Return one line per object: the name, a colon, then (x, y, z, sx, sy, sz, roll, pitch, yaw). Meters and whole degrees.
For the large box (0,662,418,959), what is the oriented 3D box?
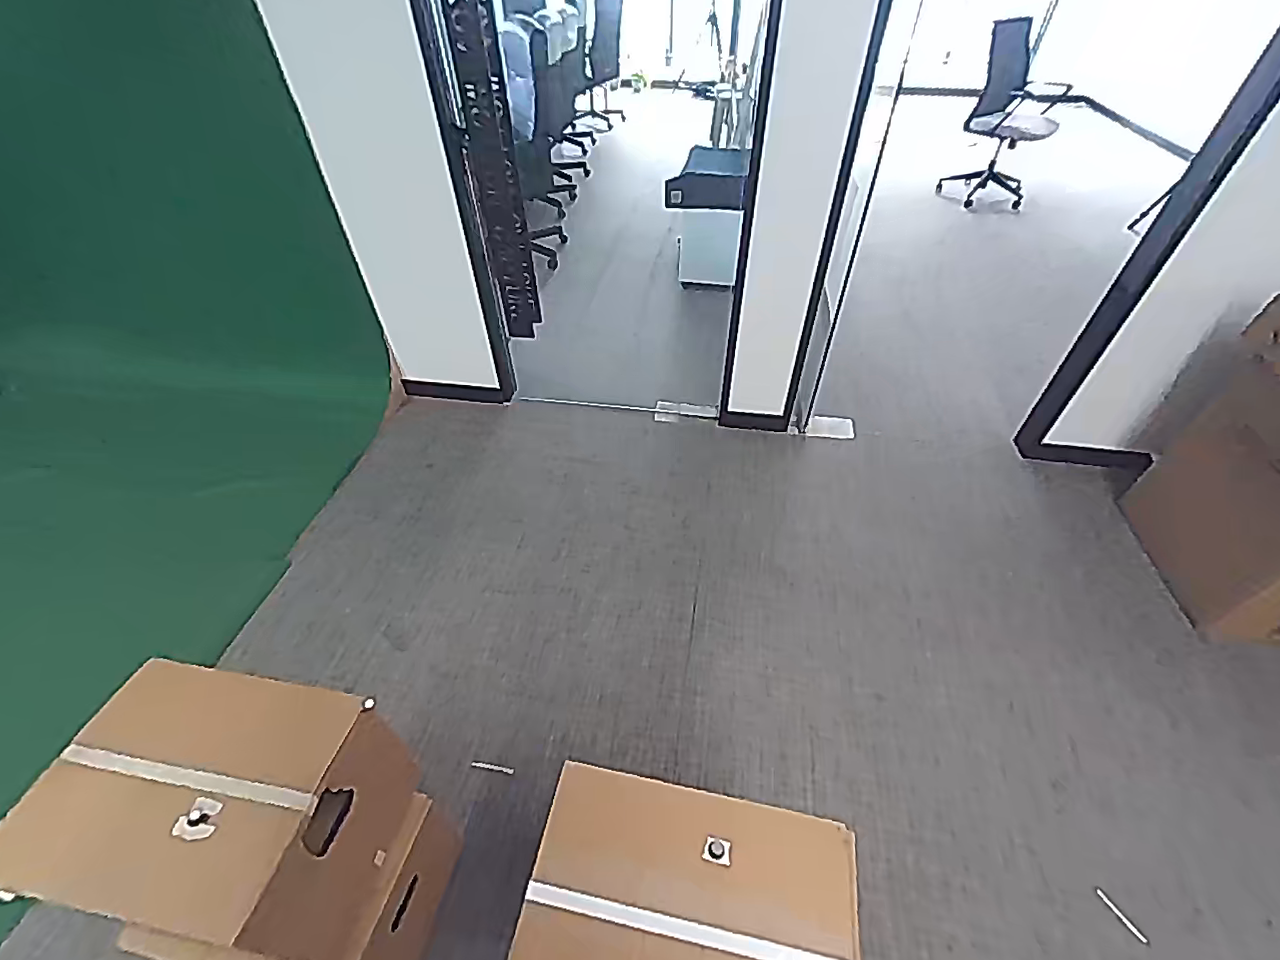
large box: (-0.650, 0.542, 0.881, 0.408, 0.320, 0.320, 8, 43, 7)
